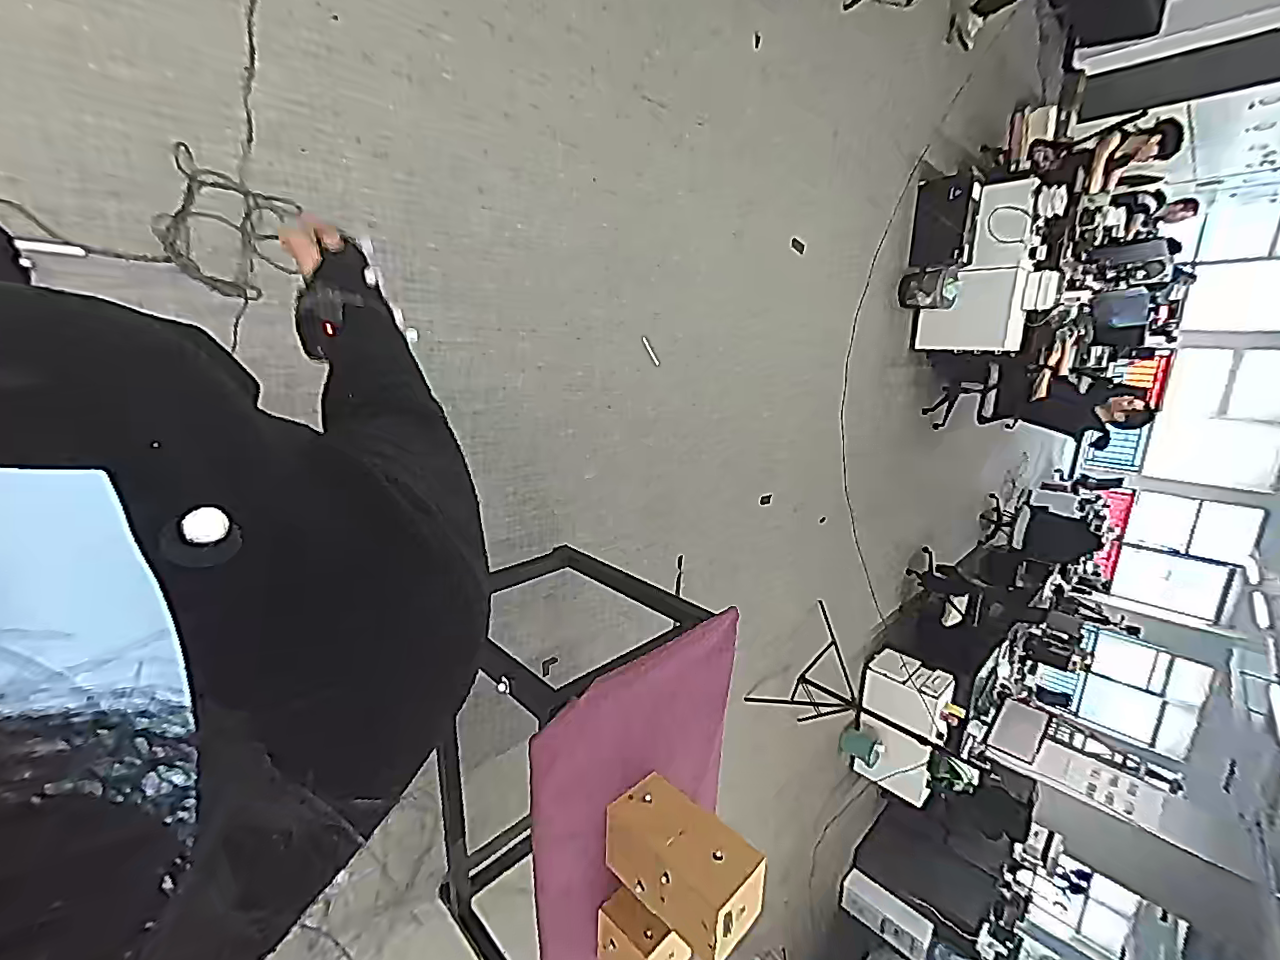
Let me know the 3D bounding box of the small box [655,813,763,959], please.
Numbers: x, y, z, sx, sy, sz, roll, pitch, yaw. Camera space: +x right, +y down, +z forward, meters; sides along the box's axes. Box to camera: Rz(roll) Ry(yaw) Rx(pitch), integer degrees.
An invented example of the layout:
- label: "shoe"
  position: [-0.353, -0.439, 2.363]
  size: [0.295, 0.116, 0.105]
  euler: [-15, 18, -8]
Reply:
- label: "small box"
  position: [0.148, 0.894, 1.196]
  size: [0.179, 0.176, 0.168]
  euler: [-14, 111, -44]

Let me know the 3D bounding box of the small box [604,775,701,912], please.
- label: "small box"
  position: [0.027, 0.862, 1.303]
  size: [0.168, 0.176, 0.179]
  euler: [-11, 109, -44]

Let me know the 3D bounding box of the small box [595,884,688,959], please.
- label: "small box"
  position: [0.007, 1.137, 1.363]
  size: [0.179, 0.176, 0.168]
  euler: [-12, 109, -44]
